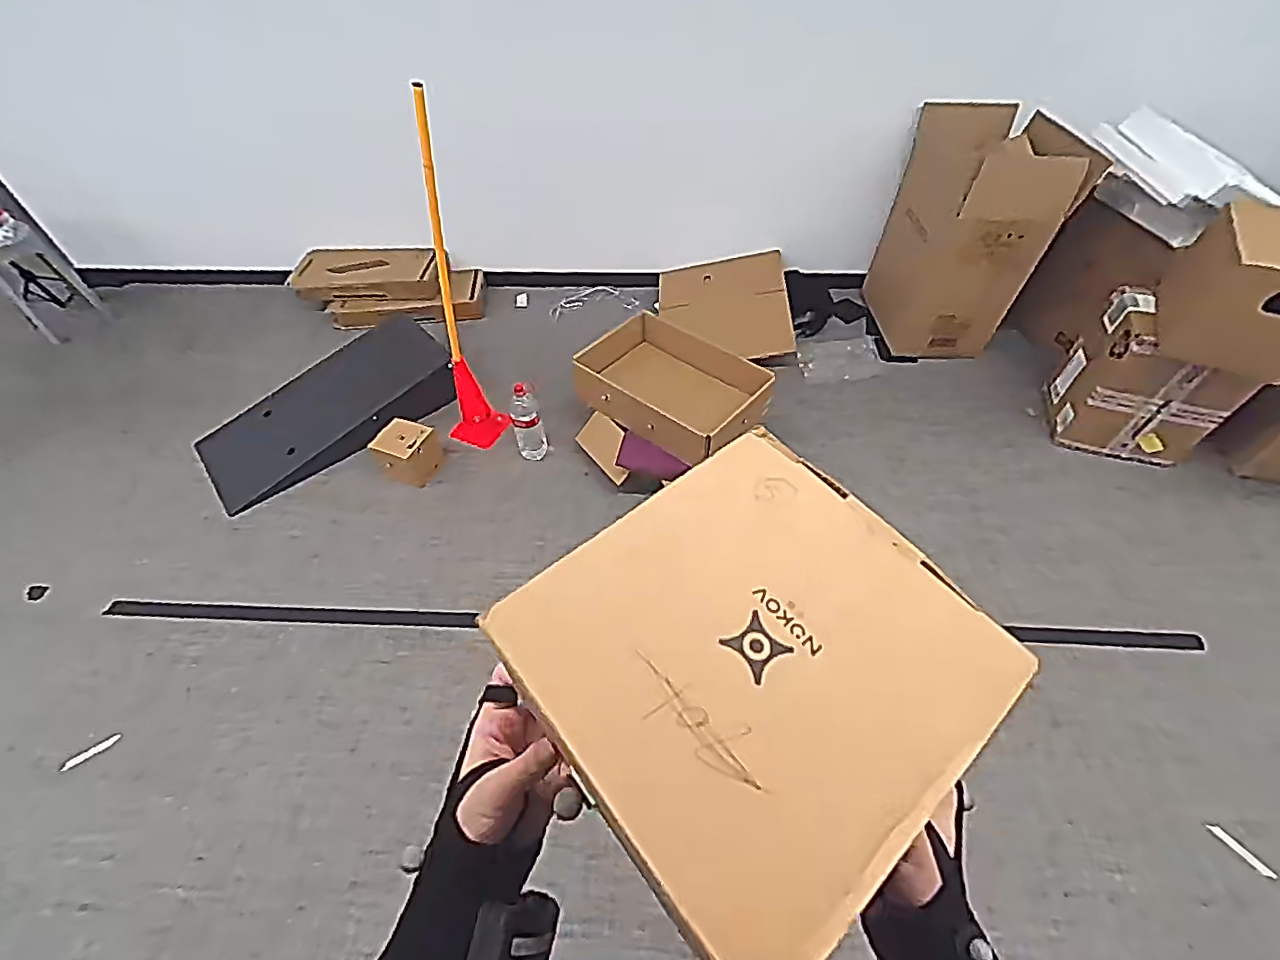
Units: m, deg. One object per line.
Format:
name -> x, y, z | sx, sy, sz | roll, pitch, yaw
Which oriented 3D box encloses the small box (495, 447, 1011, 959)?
small box -> 0.046, 0.120, 0.305 | 0.179, 0.176, 0.168 | -34, 64, -23
